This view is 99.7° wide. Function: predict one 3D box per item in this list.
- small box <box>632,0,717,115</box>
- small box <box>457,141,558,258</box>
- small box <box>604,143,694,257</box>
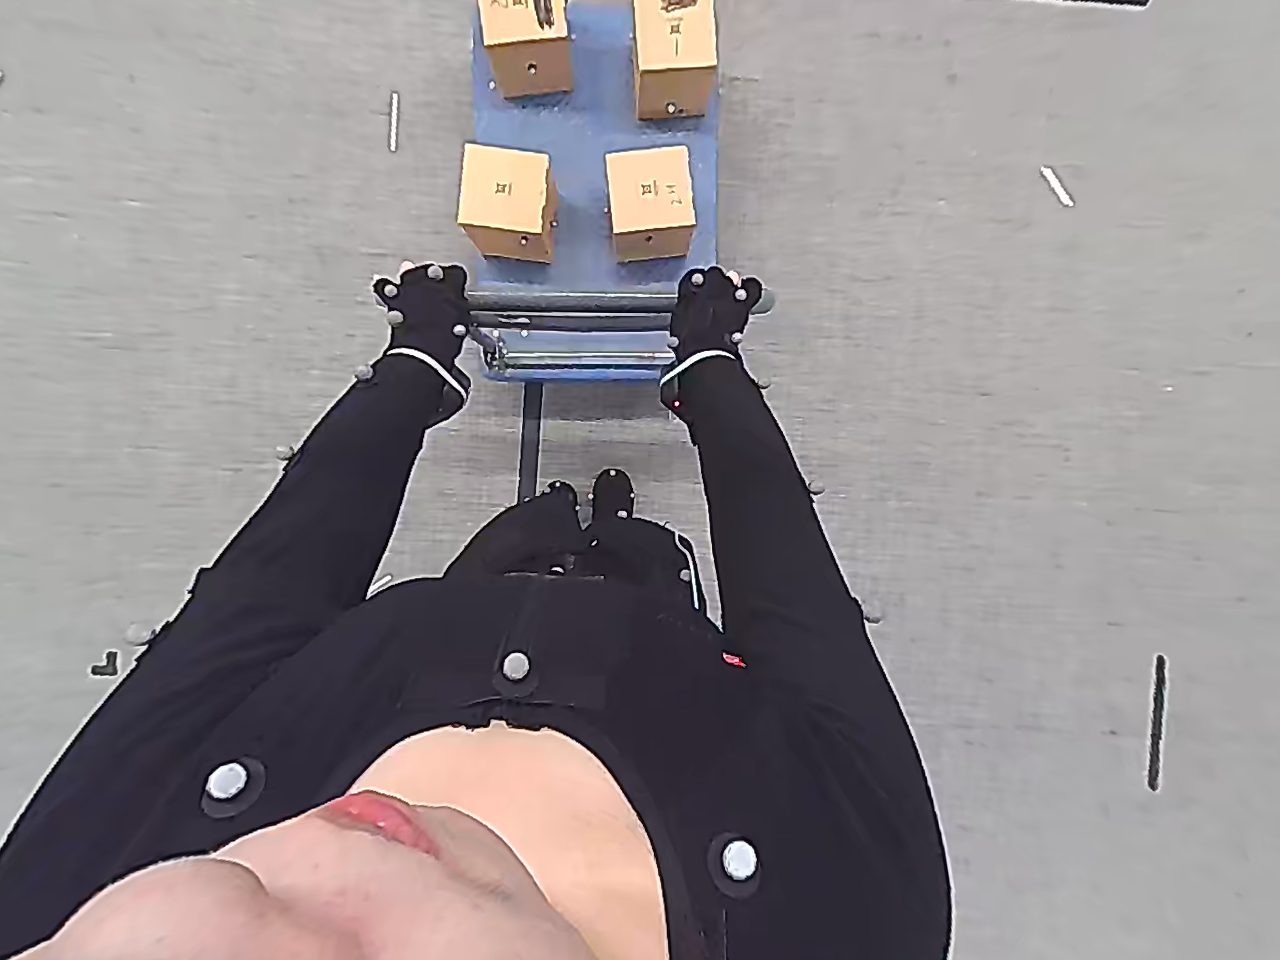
[{"bbox_3d":[0.070,-0.942,1.183,0.168,0.176,0.179,-4,94,-1],"label":"small box"},{"bbox_3d":[-0.285,-0.607,1.191,0.179,0.176,0.168,6,92,-3],"label":"small box"},{"bbox_3d":[0.019,-0.609,1.197,0.179,0.176,0.168,-6,93,-1],"label":"small box"}]
